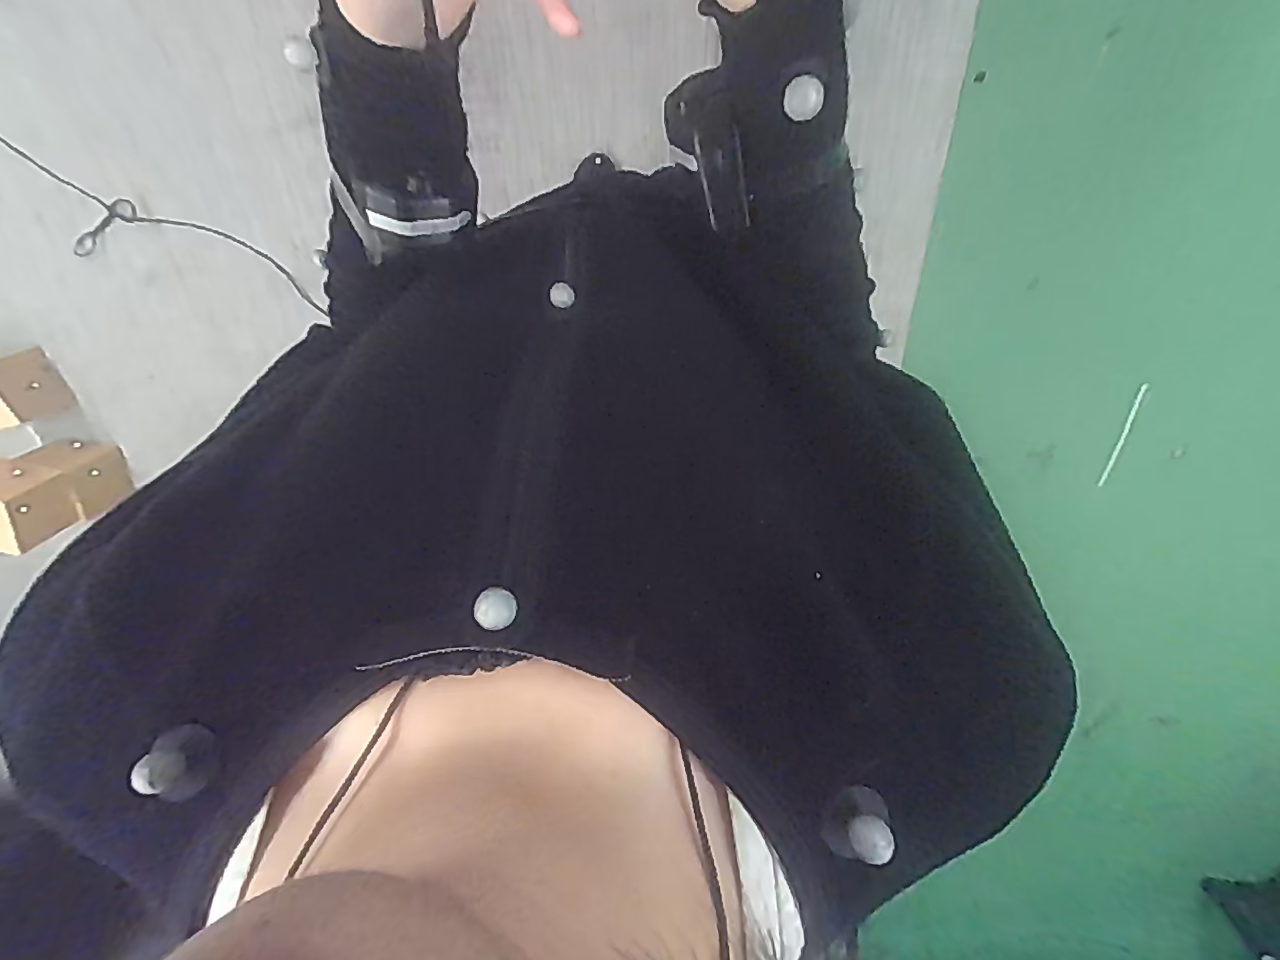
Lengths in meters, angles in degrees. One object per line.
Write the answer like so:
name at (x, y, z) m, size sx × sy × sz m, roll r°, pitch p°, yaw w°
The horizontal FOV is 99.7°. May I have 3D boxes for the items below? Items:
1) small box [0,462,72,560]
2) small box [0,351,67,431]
small box at (-1.672, 0.078, 1.428) m, size 0.168 × 0.176 × 0.179 m, roll 14°, pitch 117°, yaw -6°
small box at (-1.707, -0.234, 1.440) m, size 0.179 × 0.176 × 0.168 m, roll -7°, pitch 118°, yaw 6°
